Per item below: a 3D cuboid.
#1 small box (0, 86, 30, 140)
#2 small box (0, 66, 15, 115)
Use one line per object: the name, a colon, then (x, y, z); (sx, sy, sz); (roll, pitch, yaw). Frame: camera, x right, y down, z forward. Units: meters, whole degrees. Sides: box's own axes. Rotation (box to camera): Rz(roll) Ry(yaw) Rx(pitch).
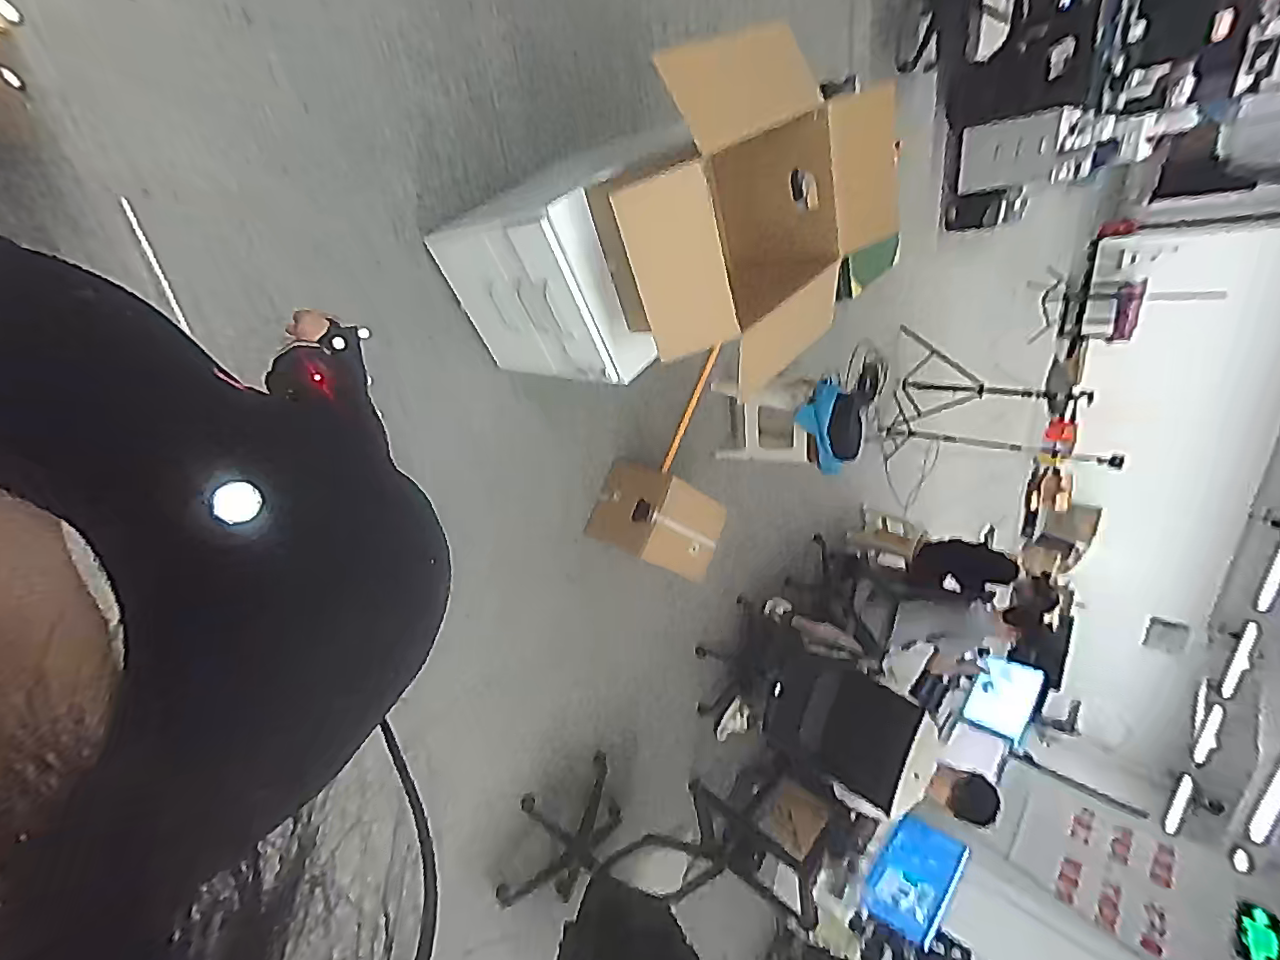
small box: (-1.084, -0.625, 0.816); (0.168, 0.176, 0.179); (-32, 123, -36)
small box: (-0.976, -0.587, 0.699); (0.168, 0.176, 0.179); (-35, 124, -36)
